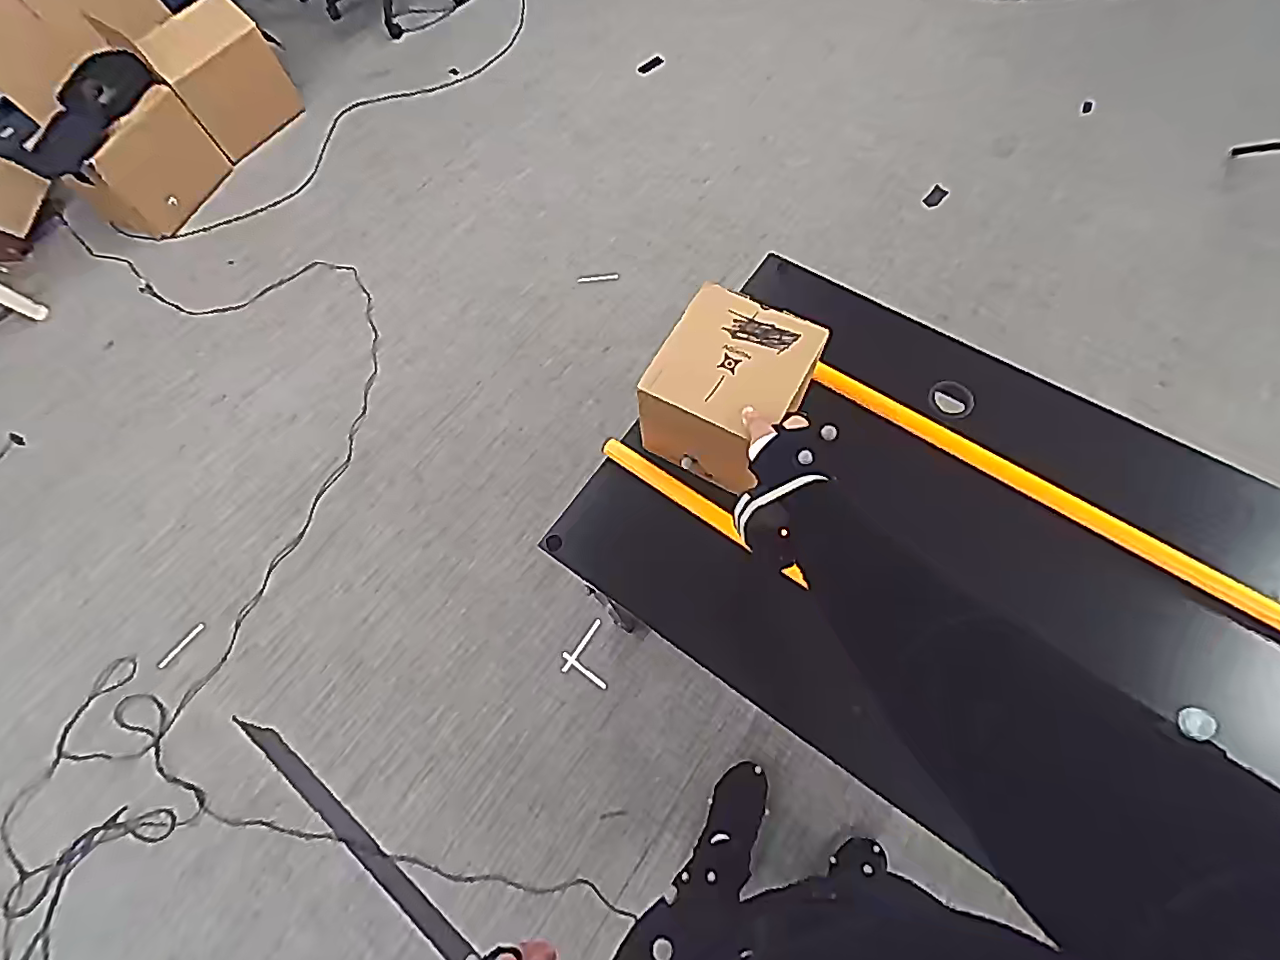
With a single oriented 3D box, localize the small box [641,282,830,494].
[{"bbox_3d":[0.116,-0.111,0.701,0.168,0.176,0.179,28,73,14],"label":"small box"}]
